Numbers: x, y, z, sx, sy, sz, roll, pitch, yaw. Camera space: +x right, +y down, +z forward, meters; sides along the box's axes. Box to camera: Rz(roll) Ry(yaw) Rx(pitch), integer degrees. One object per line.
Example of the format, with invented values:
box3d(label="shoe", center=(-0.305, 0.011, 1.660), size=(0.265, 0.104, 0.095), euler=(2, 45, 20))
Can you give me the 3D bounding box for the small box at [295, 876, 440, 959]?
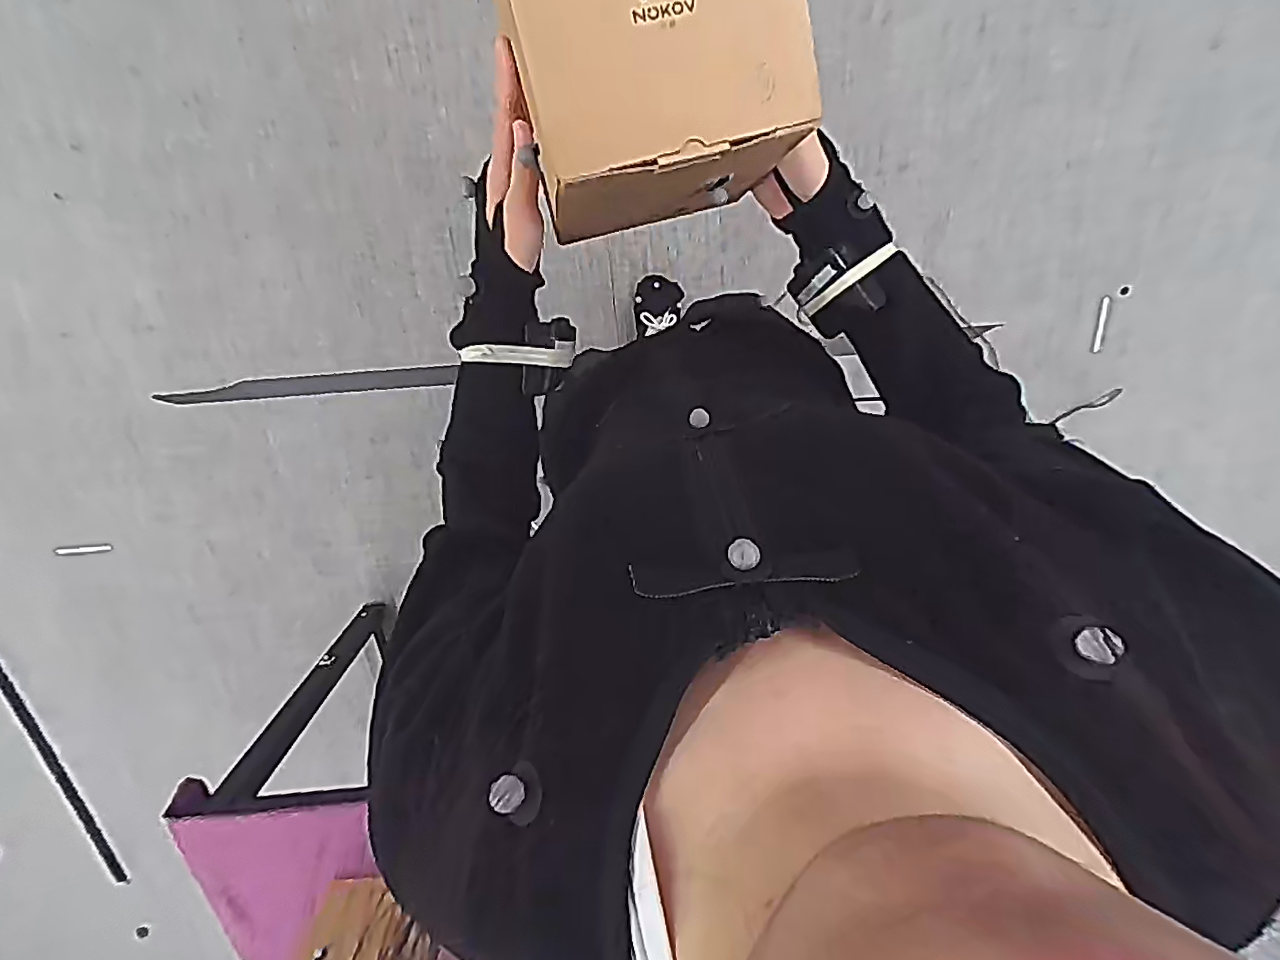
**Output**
box3d(label="small box", center=(-0.475, 0.835, 0.946), size=(0.179, 0.176, 0.168), euler=(-4, 110, -1))
